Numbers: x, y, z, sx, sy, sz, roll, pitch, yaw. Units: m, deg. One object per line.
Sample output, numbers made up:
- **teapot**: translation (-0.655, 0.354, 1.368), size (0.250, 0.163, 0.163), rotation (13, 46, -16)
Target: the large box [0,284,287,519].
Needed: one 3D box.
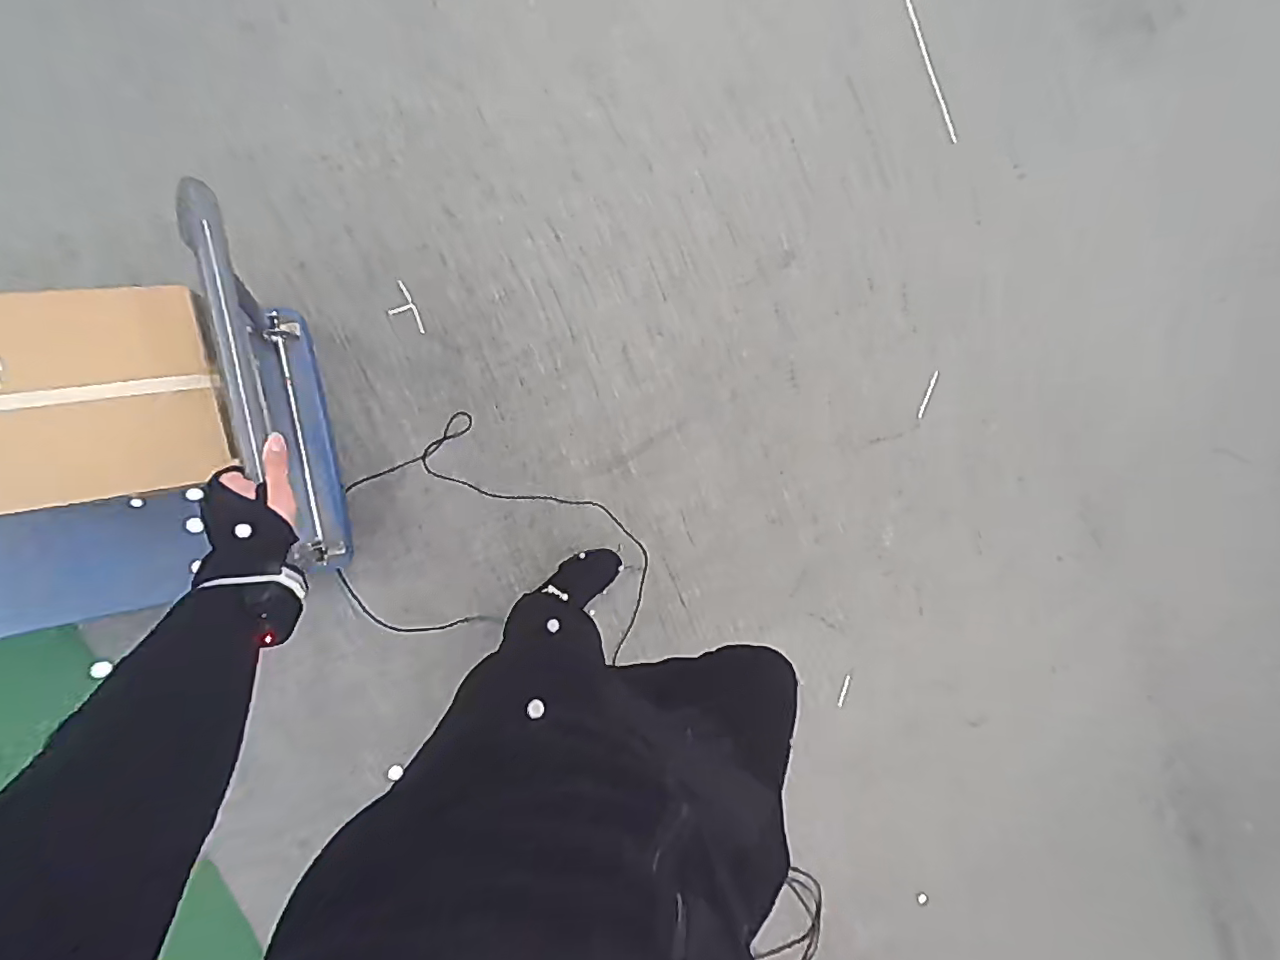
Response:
- **large box**: translation (-0.908, -0.124, 0.934), size (0.408, 0.320, 0.320), rotation (-12, 95, -20)
